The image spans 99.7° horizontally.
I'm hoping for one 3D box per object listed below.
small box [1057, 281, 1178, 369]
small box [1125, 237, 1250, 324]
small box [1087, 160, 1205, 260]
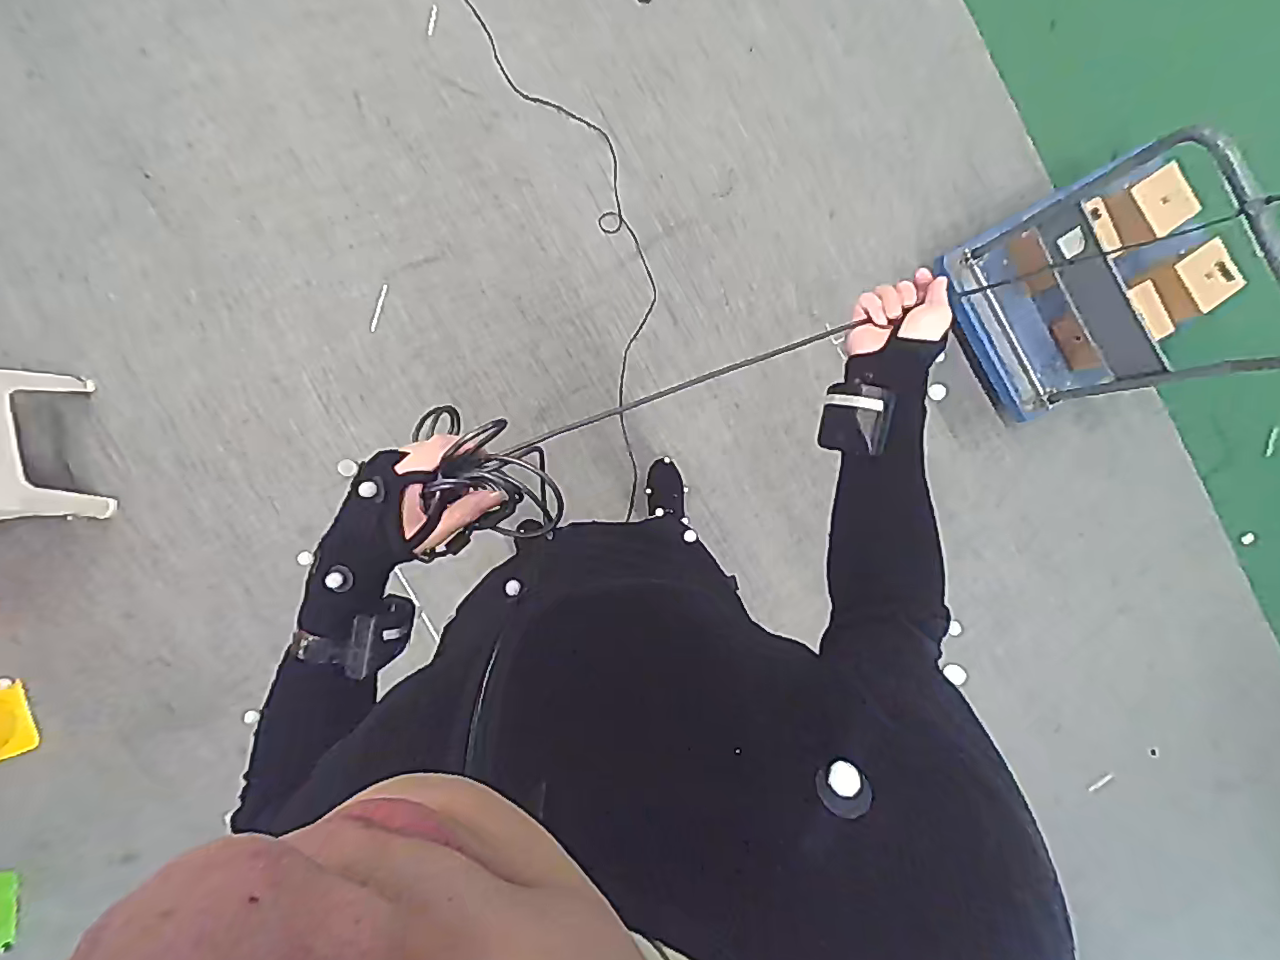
[{"bbox_3d":[1.381,-0.444,1.574,0.179,0.176,0.168,-29,92,-6],"label":"small box"},{"bbox_3d":[1.615,-0.577,1.606,0.179,0.176,0.168,-33,92,-6],"label":"small box"},{"bbox_3d":[1.476,-0.787,1.596,0.179,0.176,0.168,-33,93,-7],"label":"small box"}]
